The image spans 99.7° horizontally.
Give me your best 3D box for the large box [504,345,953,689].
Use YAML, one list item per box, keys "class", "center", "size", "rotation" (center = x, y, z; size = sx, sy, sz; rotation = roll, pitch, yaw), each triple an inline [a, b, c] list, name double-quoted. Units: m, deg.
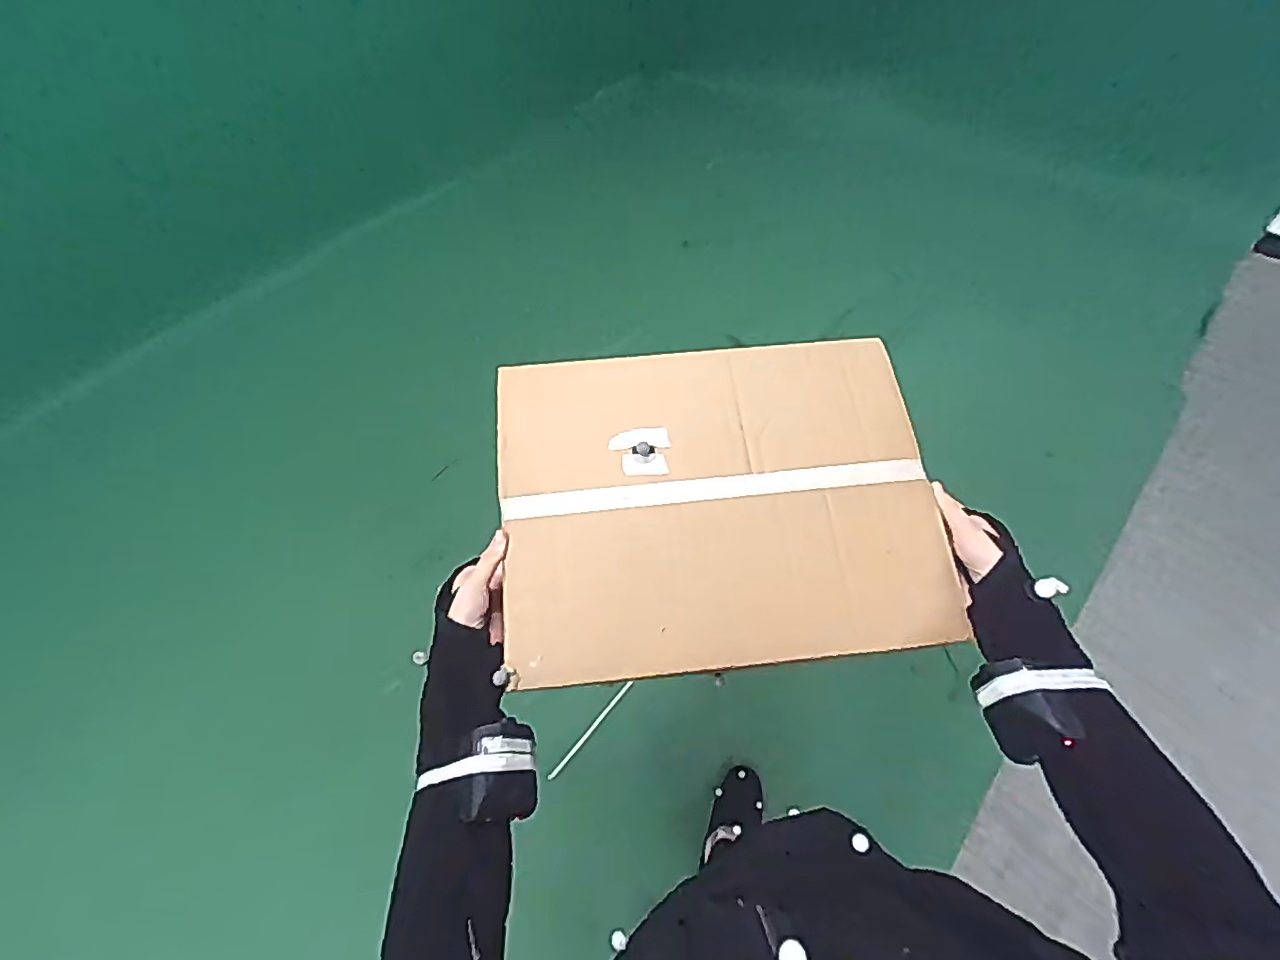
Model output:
- class: "large box"
  center: [0.071, 0.066, 0.664]
  size: [0.408, 0.320, 0.320]
  rotation: [-5, 70, -2]
